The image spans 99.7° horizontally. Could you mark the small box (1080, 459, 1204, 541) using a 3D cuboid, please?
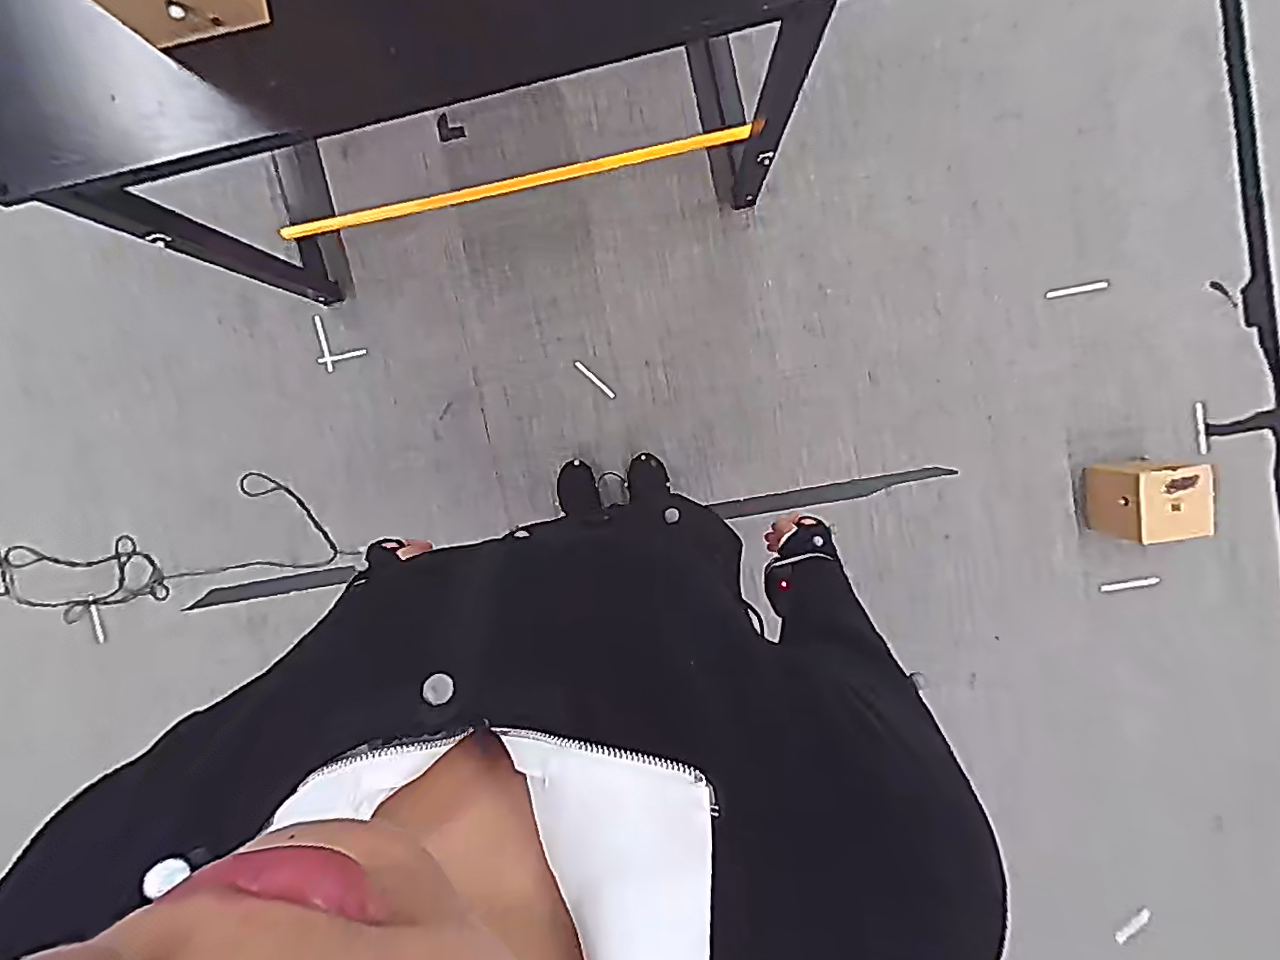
[{"bbox_3d":[1.261,0.043,1.369,0.168,0.176,0.179,-8,97,3],"label":"small box"}]

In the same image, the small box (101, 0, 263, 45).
[{"bbox_3d":[-0.587,-0.666,0.629,0.168,0.176,0.179,-10,95,3],"label":"small box"}]
